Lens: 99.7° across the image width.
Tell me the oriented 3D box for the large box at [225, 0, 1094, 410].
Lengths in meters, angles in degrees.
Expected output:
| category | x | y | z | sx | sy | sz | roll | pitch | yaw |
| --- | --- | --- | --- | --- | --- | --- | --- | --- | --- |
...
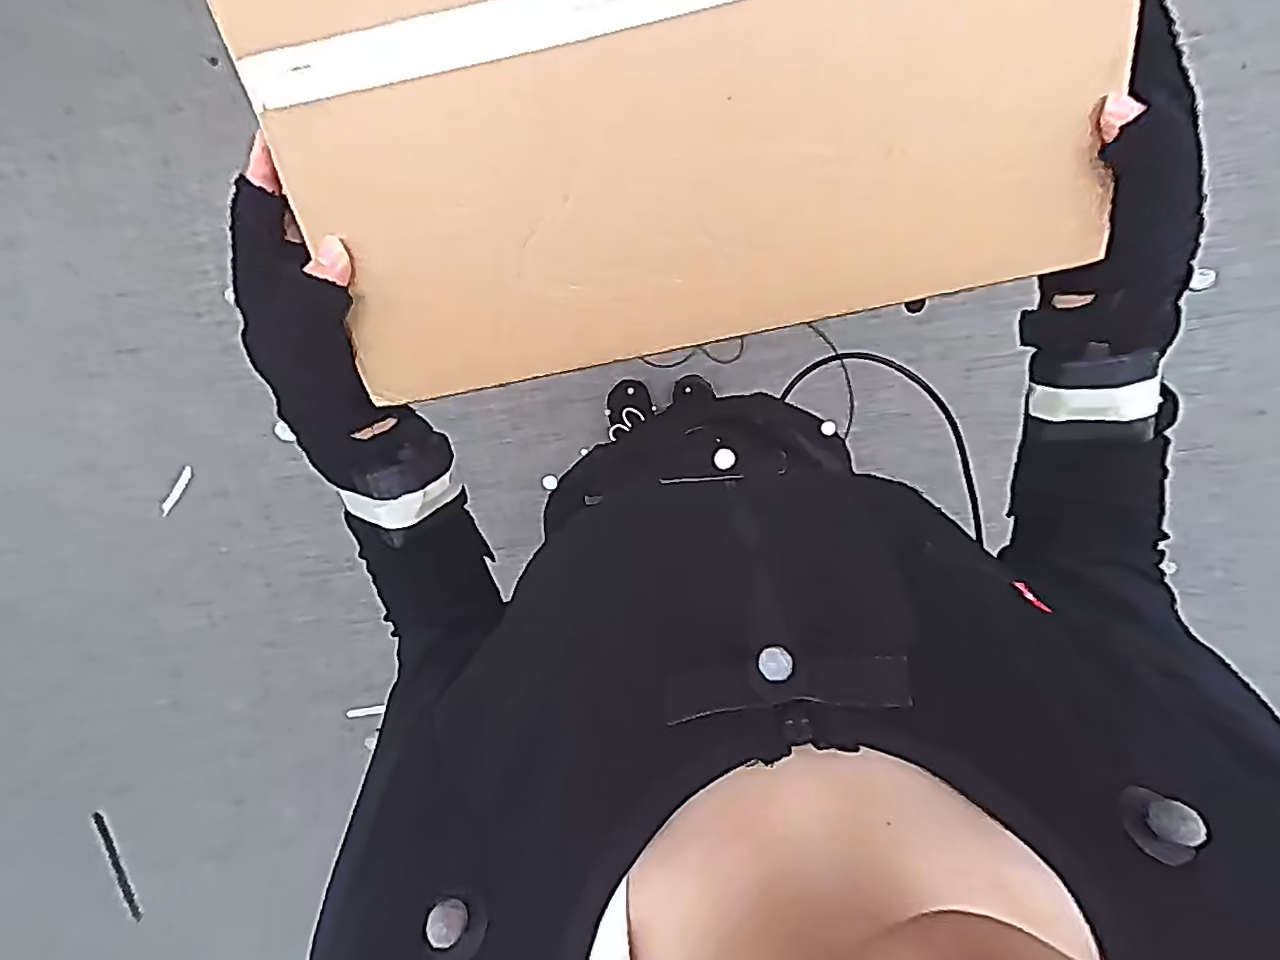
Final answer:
| category | x | y | z | sx | sy | sz | roll | pitch | yaw |
| --- | --- | --- | --- | --- | --- | --- | --- | --- | --- |
| large box | 0.011 | -0.276 | 0.388 | 0.408 | 0.320 | 0.320 | -11 | 112 | 3 |
